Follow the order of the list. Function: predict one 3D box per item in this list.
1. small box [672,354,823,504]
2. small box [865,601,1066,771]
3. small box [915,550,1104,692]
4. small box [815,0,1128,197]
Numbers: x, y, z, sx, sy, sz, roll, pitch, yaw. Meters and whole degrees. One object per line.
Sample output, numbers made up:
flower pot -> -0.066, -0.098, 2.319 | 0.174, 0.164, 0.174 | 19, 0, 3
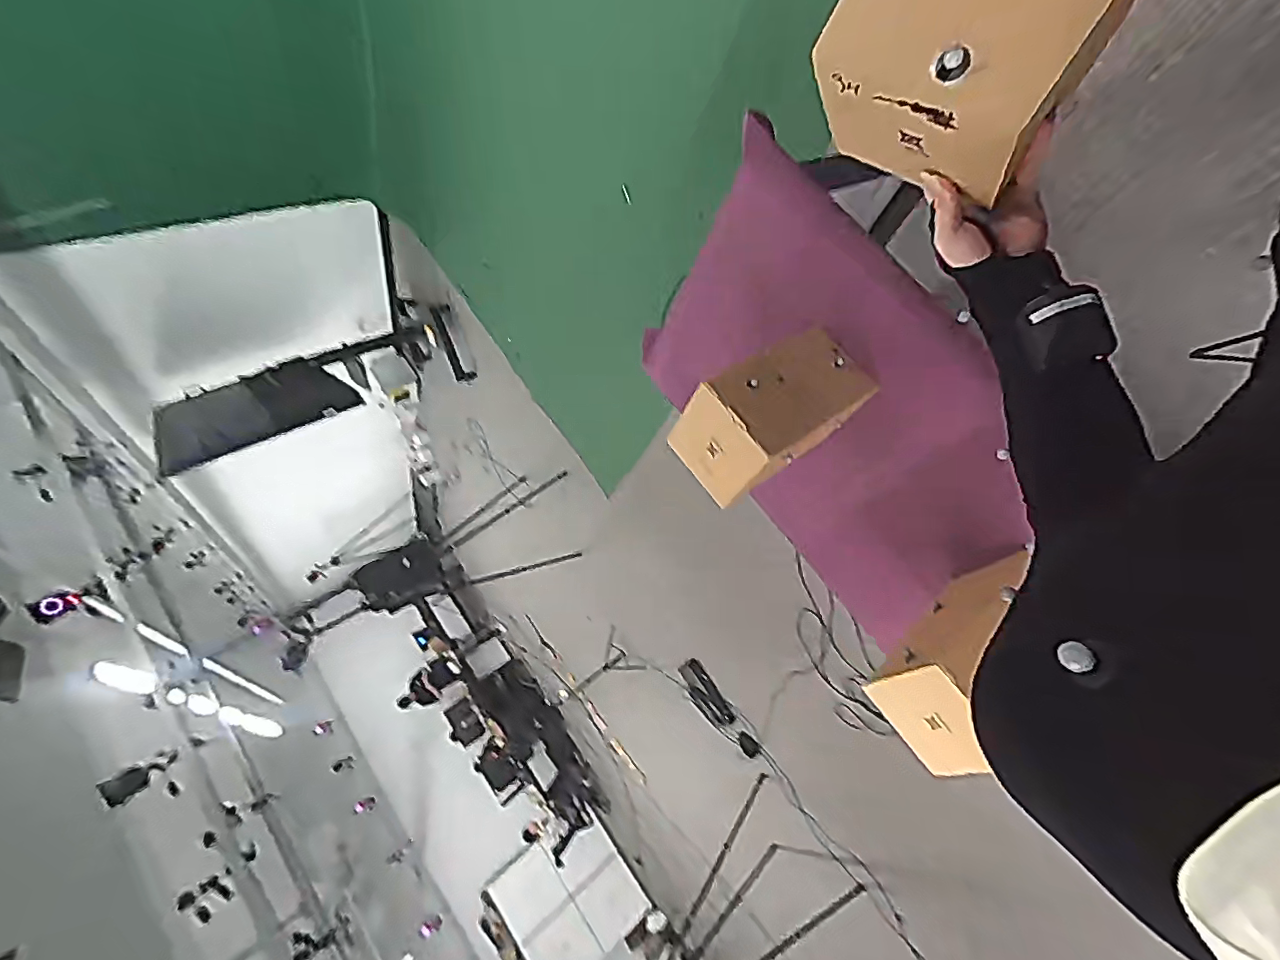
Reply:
small box -> 0.191, -0.093, 0.951 | 0.168, 0.176, 0.179 | 53, 148, 14
small box -> 0.498, 0.316, 0.835 | 0.168, 0.176, 0.179 | 52, 148, 16
small box -> 0.622, 0.248, 0.915 | 0.168, 0.176, 0.179 | 52, 148, 14
small box -> 0.271, -0.369, 0.431 | 0.168, 0.179, 0.176 | 37, 111, 19
